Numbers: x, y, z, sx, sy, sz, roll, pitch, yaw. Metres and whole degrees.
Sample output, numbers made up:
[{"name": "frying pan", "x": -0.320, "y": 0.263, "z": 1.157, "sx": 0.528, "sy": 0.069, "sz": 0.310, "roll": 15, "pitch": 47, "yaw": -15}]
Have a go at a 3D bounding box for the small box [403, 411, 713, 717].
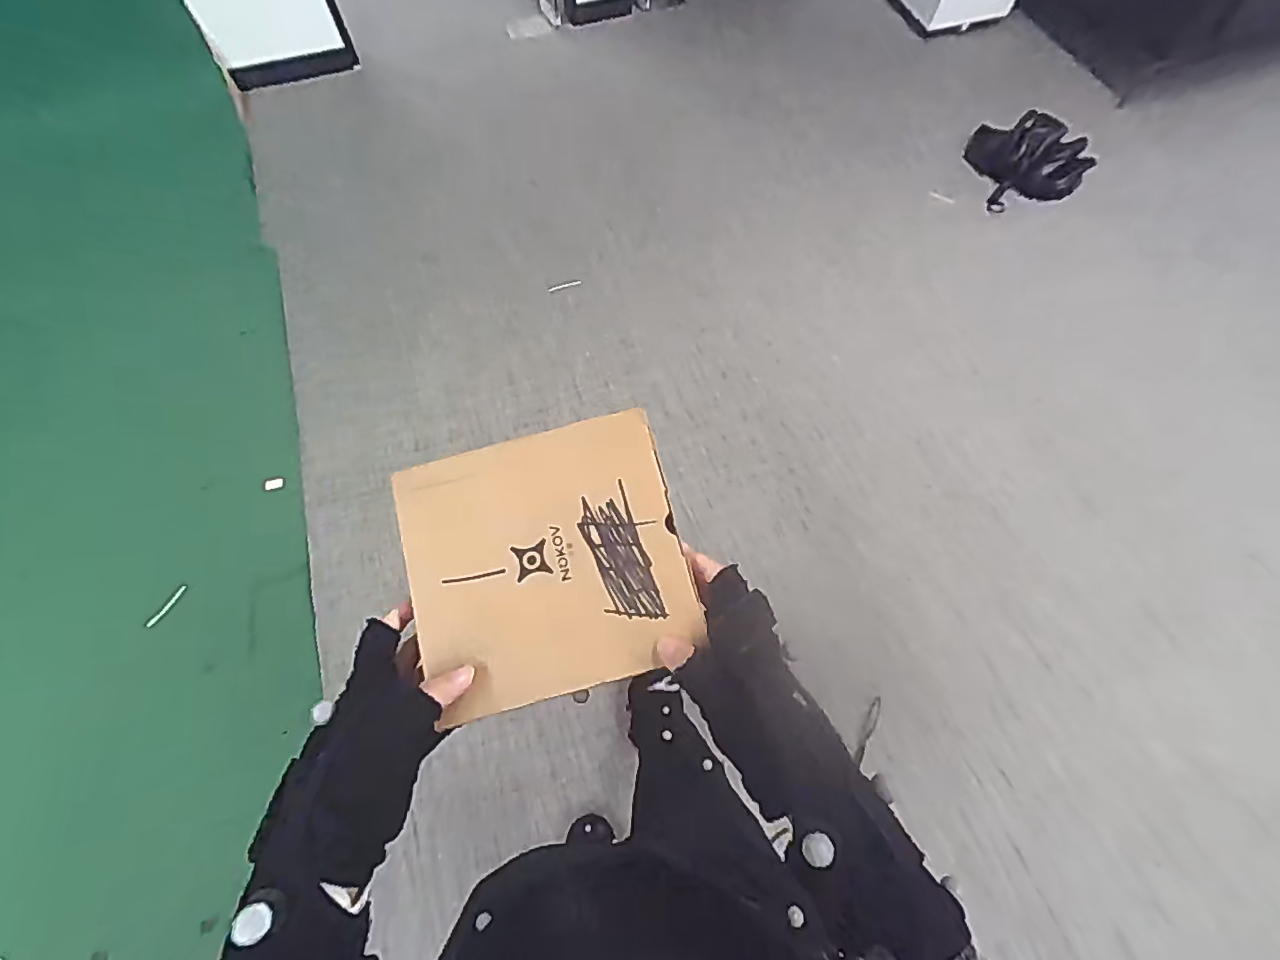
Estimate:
[{"name": "small box", "x": -0.057, "y": 0.066, "z": 0.428, "sx": 0.179, "sy": 0.176, "sz": 0.168, "roll": -15, "pitch": 77, "yaw": -2}]
